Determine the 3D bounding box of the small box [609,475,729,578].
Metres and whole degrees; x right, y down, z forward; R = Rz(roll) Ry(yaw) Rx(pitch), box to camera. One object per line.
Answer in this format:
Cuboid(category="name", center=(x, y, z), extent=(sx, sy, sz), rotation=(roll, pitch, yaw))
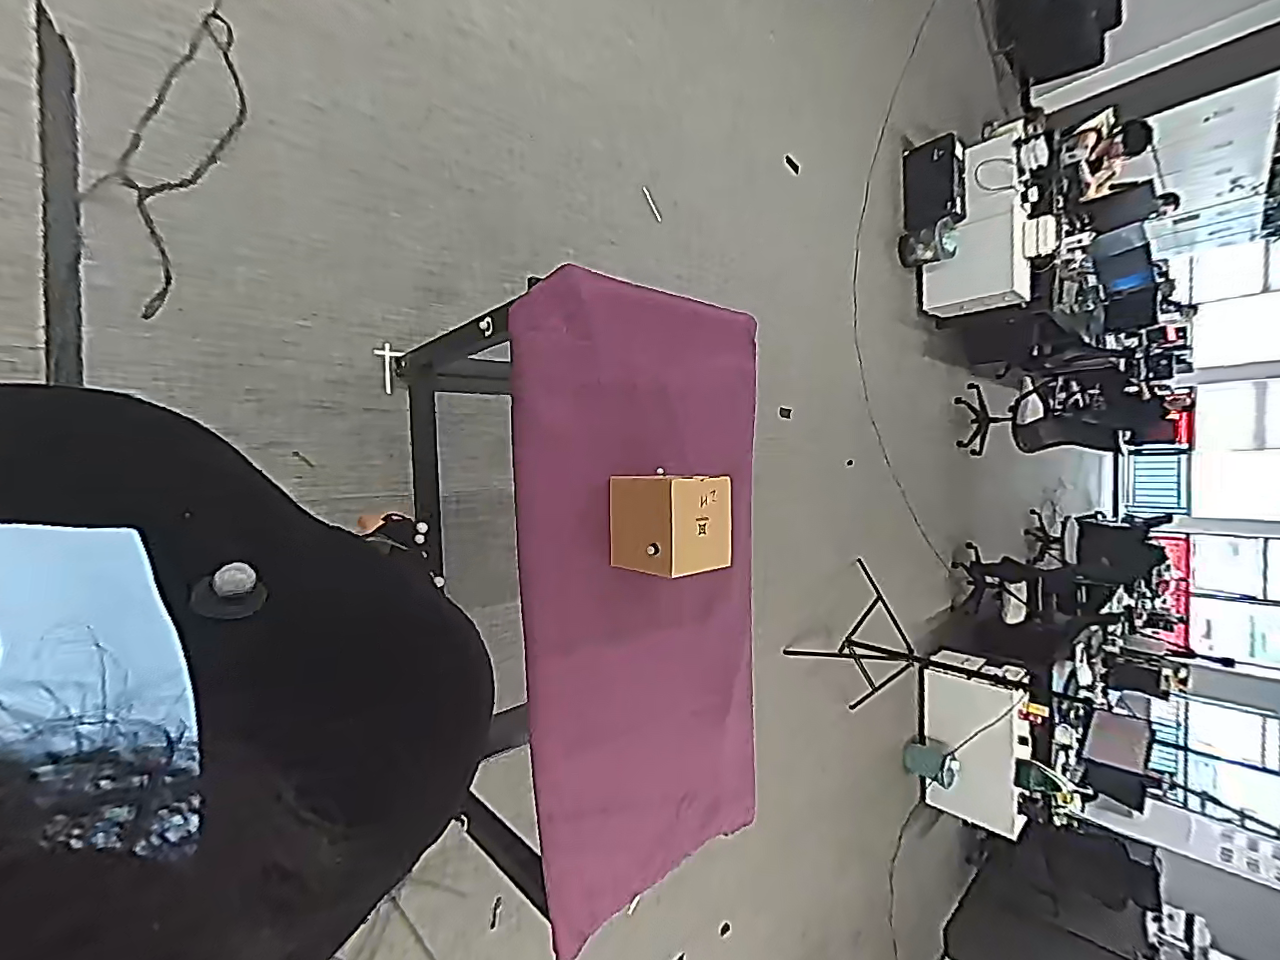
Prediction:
Cuboid(category="small box", center=(0.053, 0.081, 1.040), extent=(0.168, 0.176, 0.179), rotation=(-1, 92, -43))
